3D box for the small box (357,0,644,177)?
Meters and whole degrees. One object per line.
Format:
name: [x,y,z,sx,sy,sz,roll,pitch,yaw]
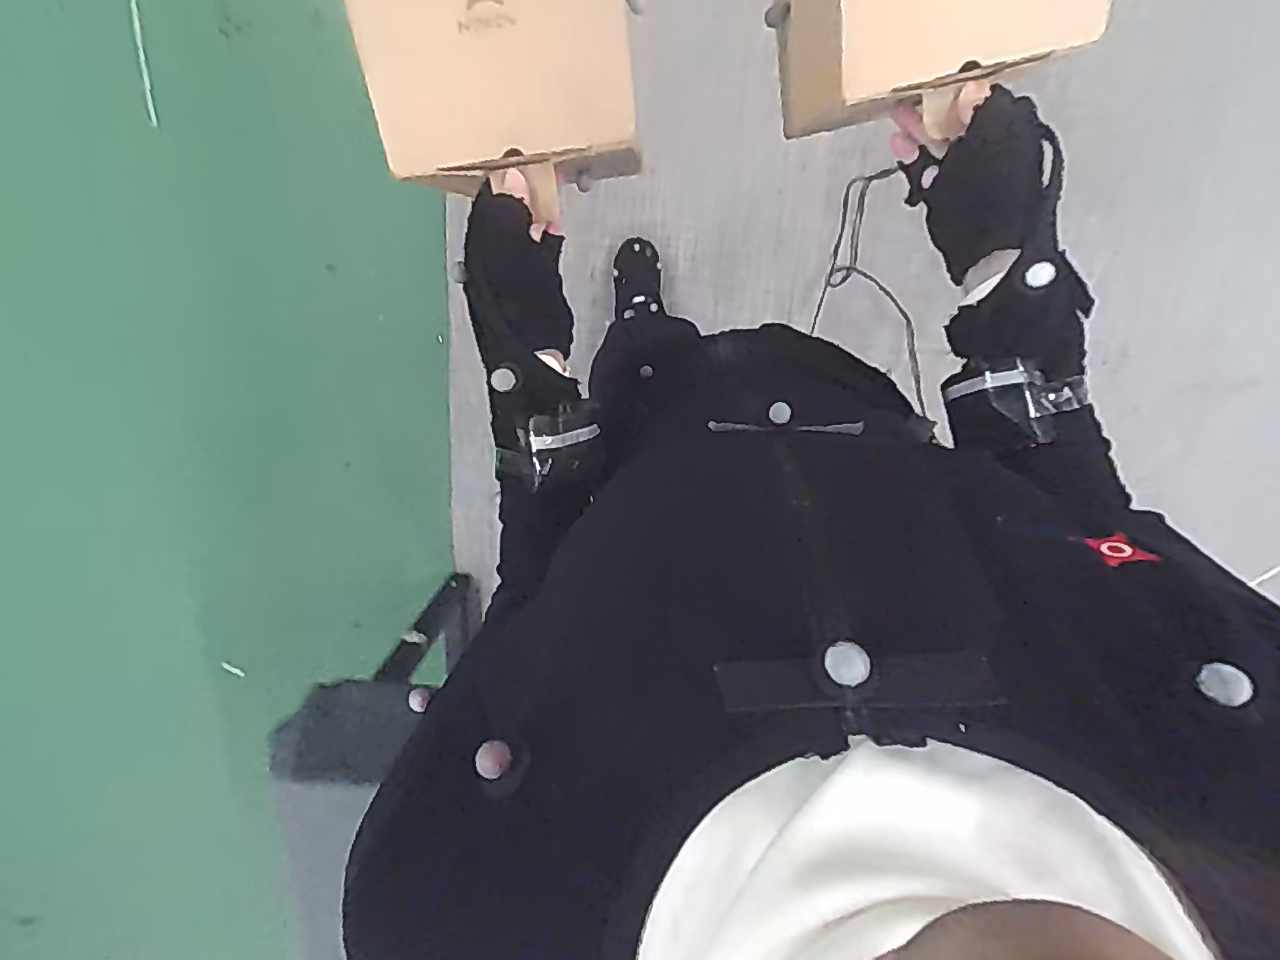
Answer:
small box: [-0.086,-0.329,0.389,0.168,0.176,0.179,-6,113,3]
